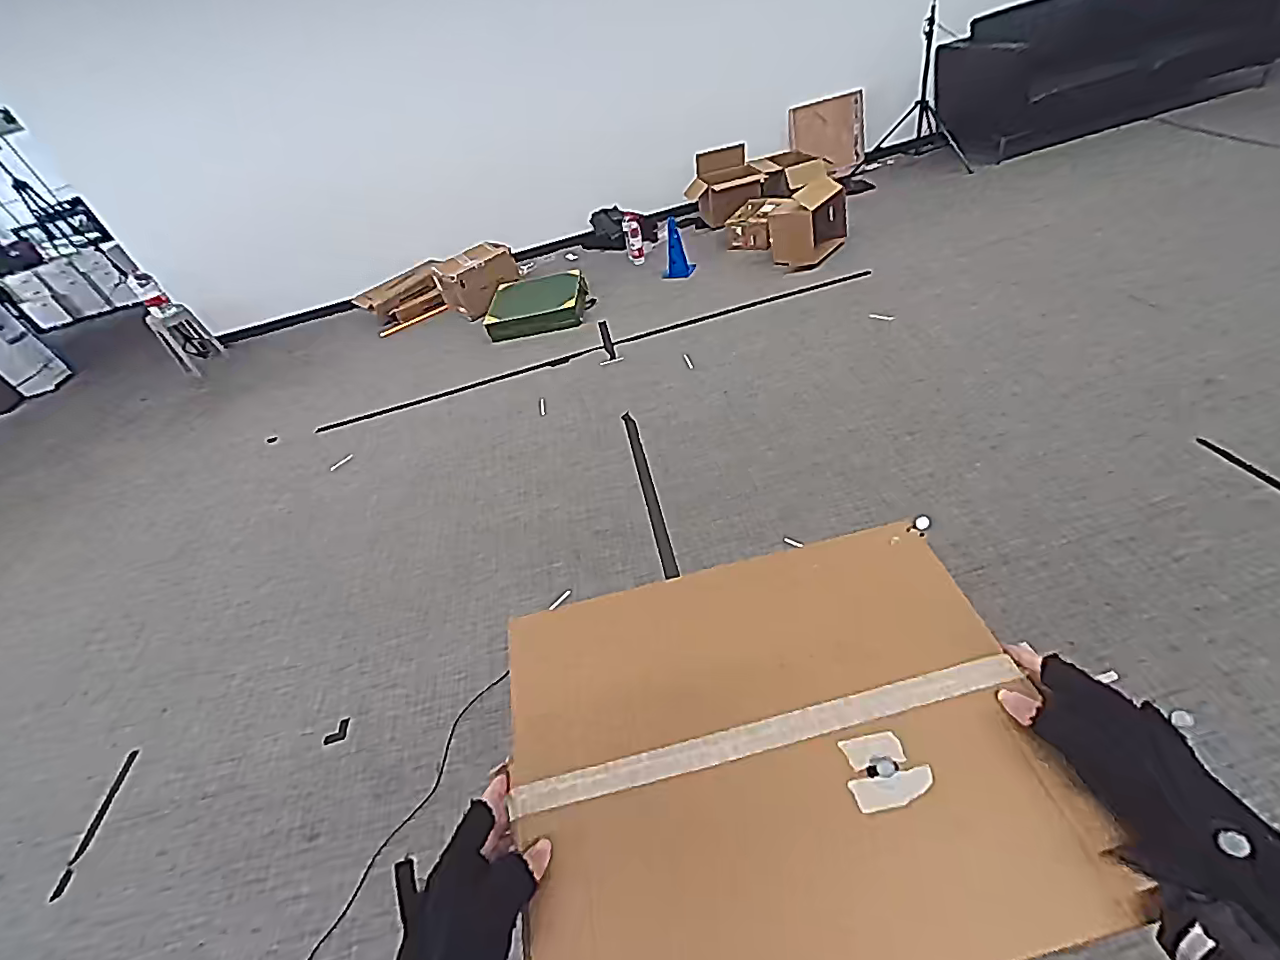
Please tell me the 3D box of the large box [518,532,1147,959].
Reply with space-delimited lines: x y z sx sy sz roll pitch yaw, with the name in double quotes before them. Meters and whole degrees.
"large box" 0.122 0.307 0.543 0.408 0.320 0.320 -14 48 -3
